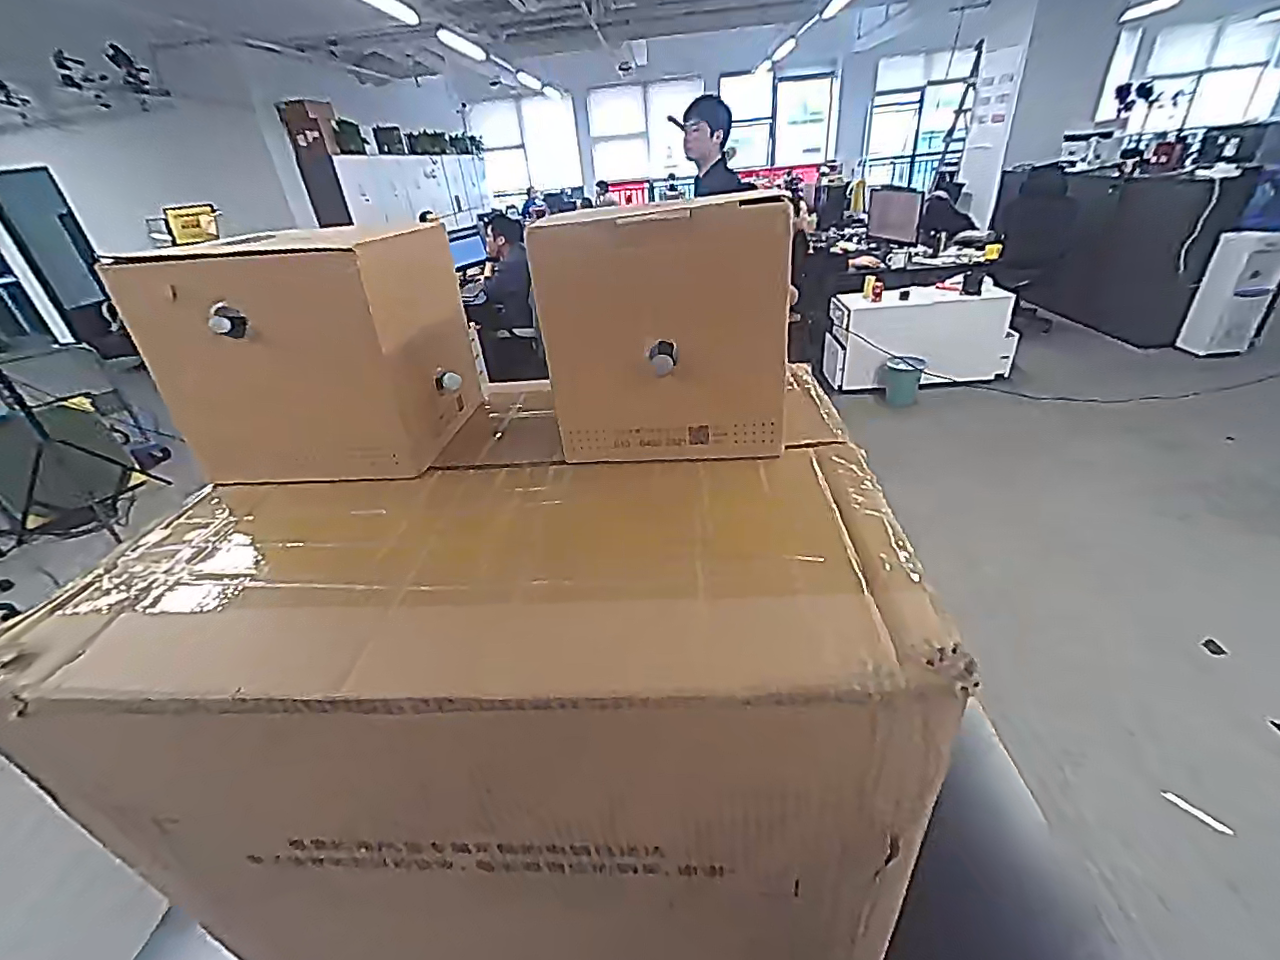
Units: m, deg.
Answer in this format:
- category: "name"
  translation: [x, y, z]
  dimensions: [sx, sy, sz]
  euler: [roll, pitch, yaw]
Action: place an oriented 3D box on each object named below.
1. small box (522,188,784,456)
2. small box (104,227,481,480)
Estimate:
- category: "small box"
  translation: [0.024, -0.126, 0.433]
  dimensions: [0.168, 0.176, 0.179]
  euler: [-2, 29, 8]
- category: "small box"
  translation: [-0.254, -0.108, 0.451]
  dimensions: [0.179, 0.176, 0.168]
  euler: [-2, 30, 4]
